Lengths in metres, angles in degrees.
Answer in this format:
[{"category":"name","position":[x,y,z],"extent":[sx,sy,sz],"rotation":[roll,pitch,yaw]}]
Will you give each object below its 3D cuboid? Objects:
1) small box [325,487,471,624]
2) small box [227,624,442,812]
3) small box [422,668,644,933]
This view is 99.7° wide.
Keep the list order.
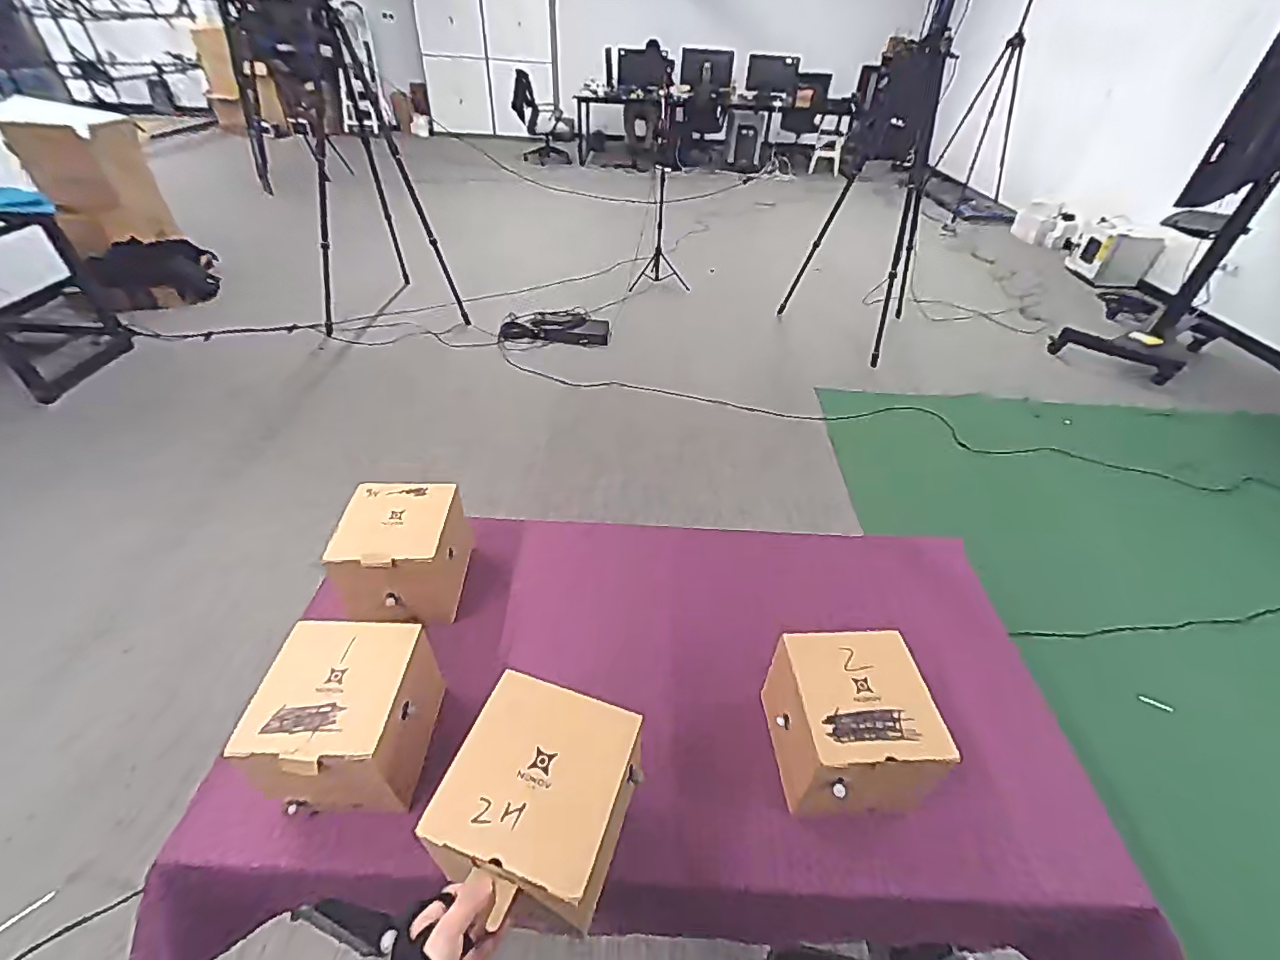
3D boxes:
[{"category":"small box","position":[-0.394,0.131,0.920],"extent":[0.168,0.176,0.179],"rotation":[0,42,-4]},{"category":"small box","position":[-0.375,0.312,0.708],"extent":[0.168,0.176,0.179],"rotation":[2,39,-1]},{"category":"small box","position":[-0.103,0.347,0.593],"extent":[0.168,0.176,0.179],"rotation":[14,43,13]}]
